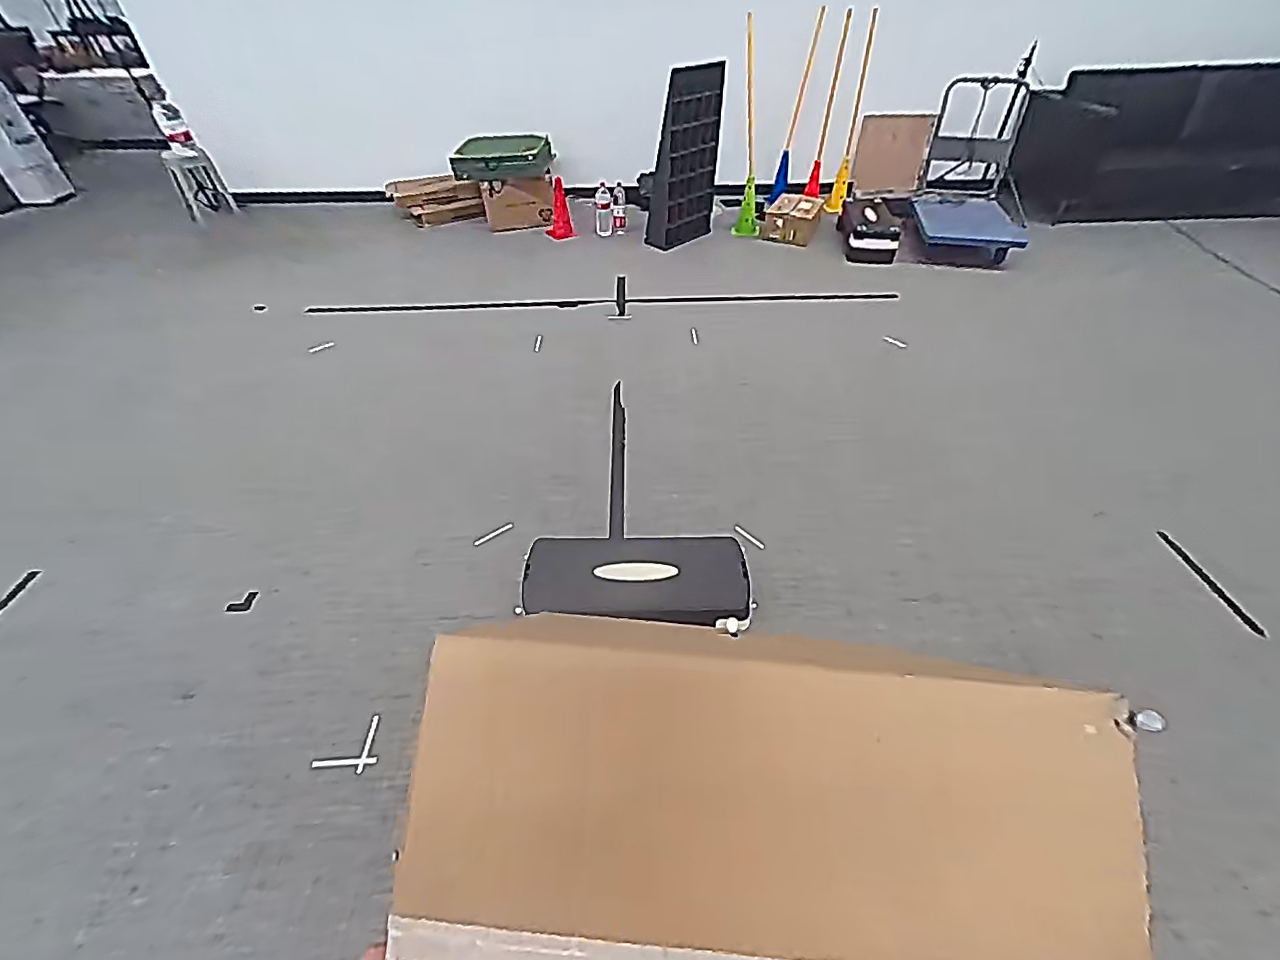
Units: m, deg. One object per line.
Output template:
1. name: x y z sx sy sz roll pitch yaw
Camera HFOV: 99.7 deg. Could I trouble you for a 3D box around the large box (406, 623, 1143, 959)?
1. large box: 0.070 0.290 0.439 0.408 0.320 0.320 4 80 1
